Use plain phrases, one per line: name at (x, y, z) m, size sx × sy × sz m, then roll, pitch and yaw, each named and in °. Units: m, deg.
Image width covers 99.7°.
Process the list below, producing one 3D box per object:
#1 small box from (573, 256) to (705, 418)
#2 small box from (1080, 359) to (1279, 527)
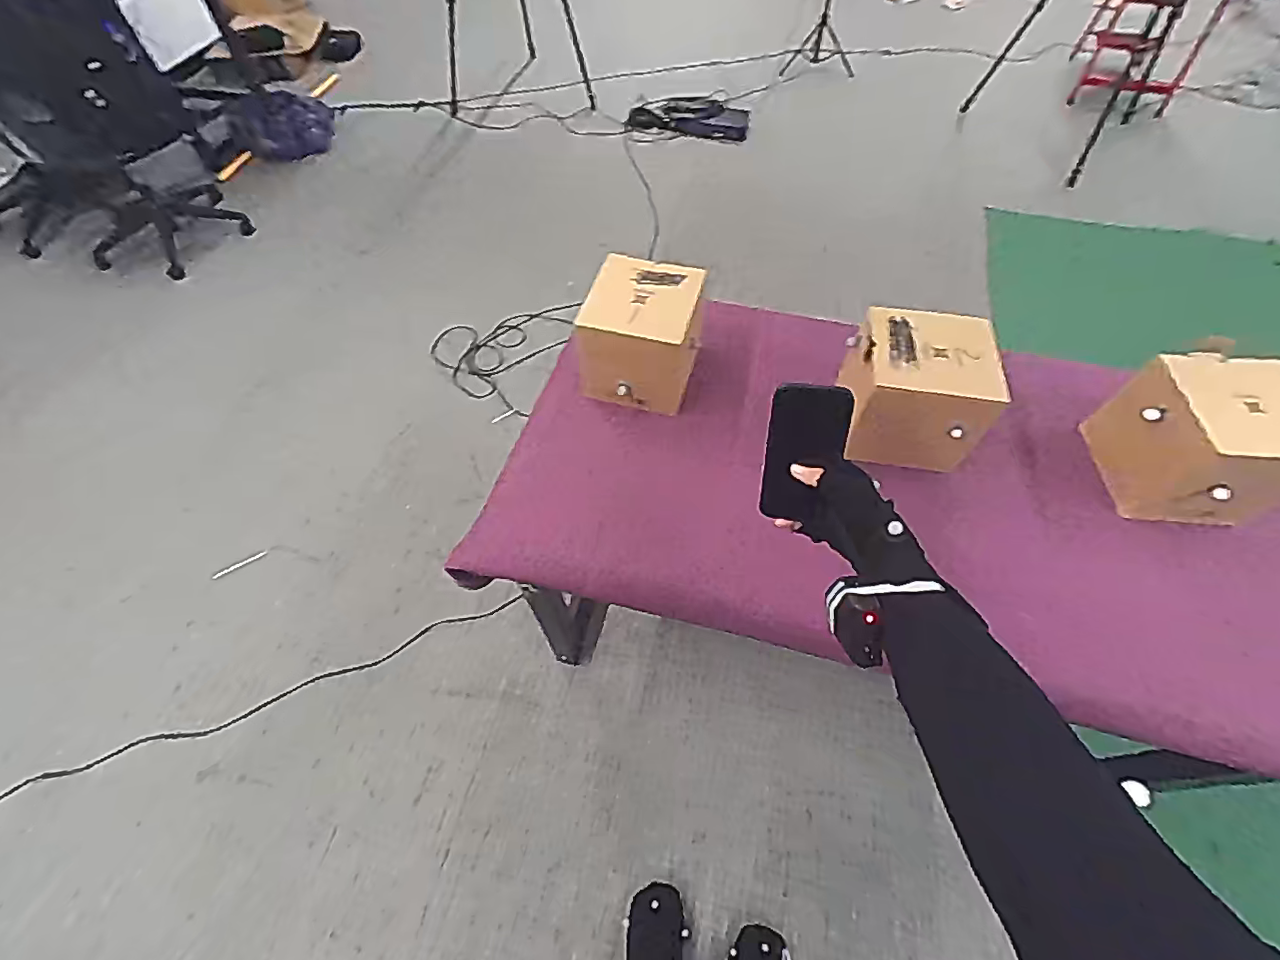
small box at (0.001, -0.233, 0.892) m, size 0.168 × 0.176 × 0.179 m, roll 14°, pitch 59°, yaw 9°
small box at (0.784, -0.047, 0.765) m, size 0.168 × 0.176 × 0.179 m, roll 4°, pitch 56°, yaw 4°
